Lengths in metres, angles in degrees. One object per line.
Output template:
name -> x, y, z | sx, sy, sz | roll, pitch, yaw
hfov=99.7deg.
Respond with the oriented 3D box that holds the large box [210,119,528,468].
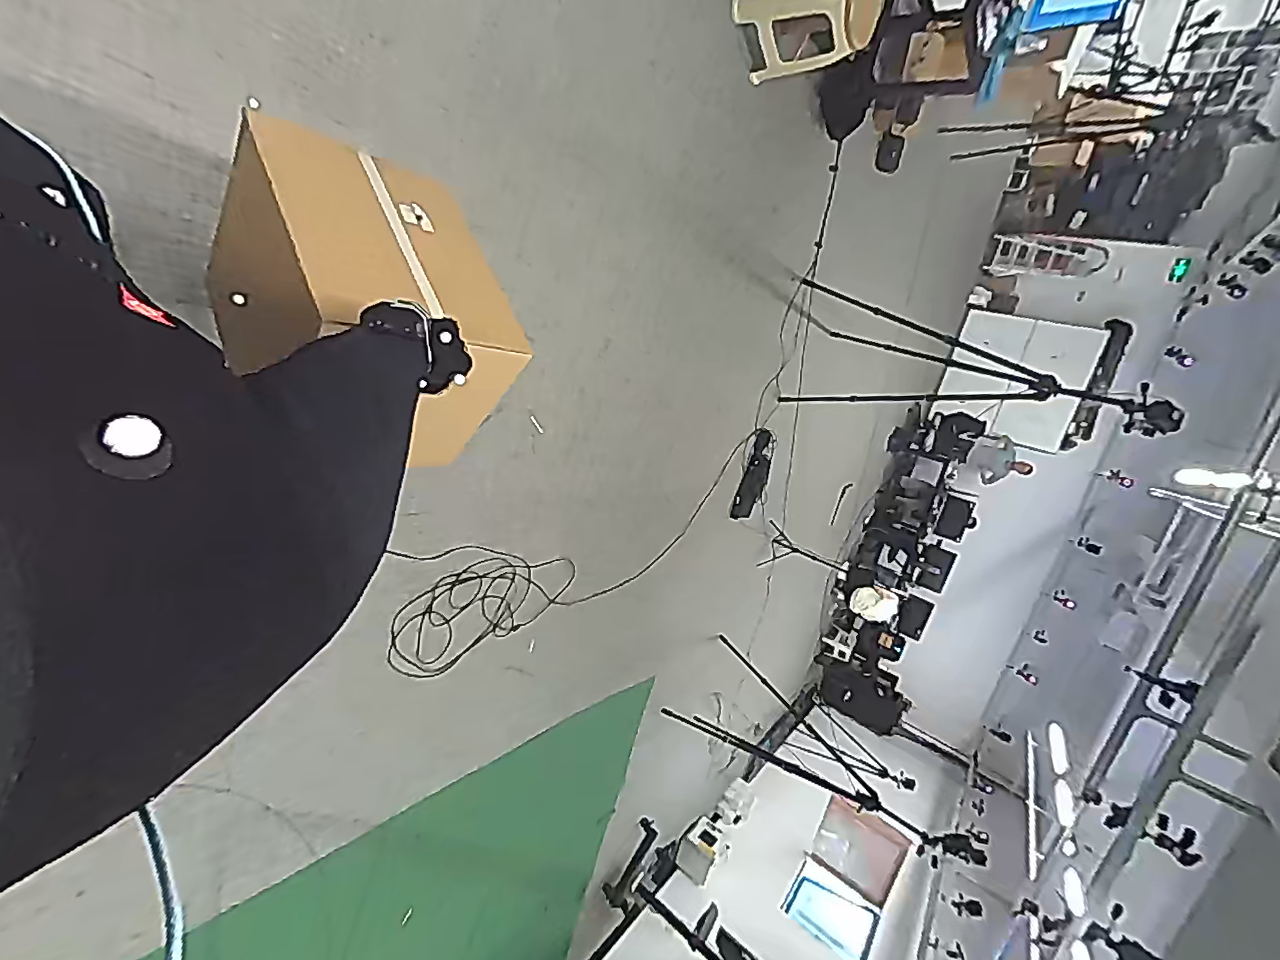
large box -> -0.458, -0.272, 0.895 | 0.320, 0.408, 0.320 | -42, 158, 32
